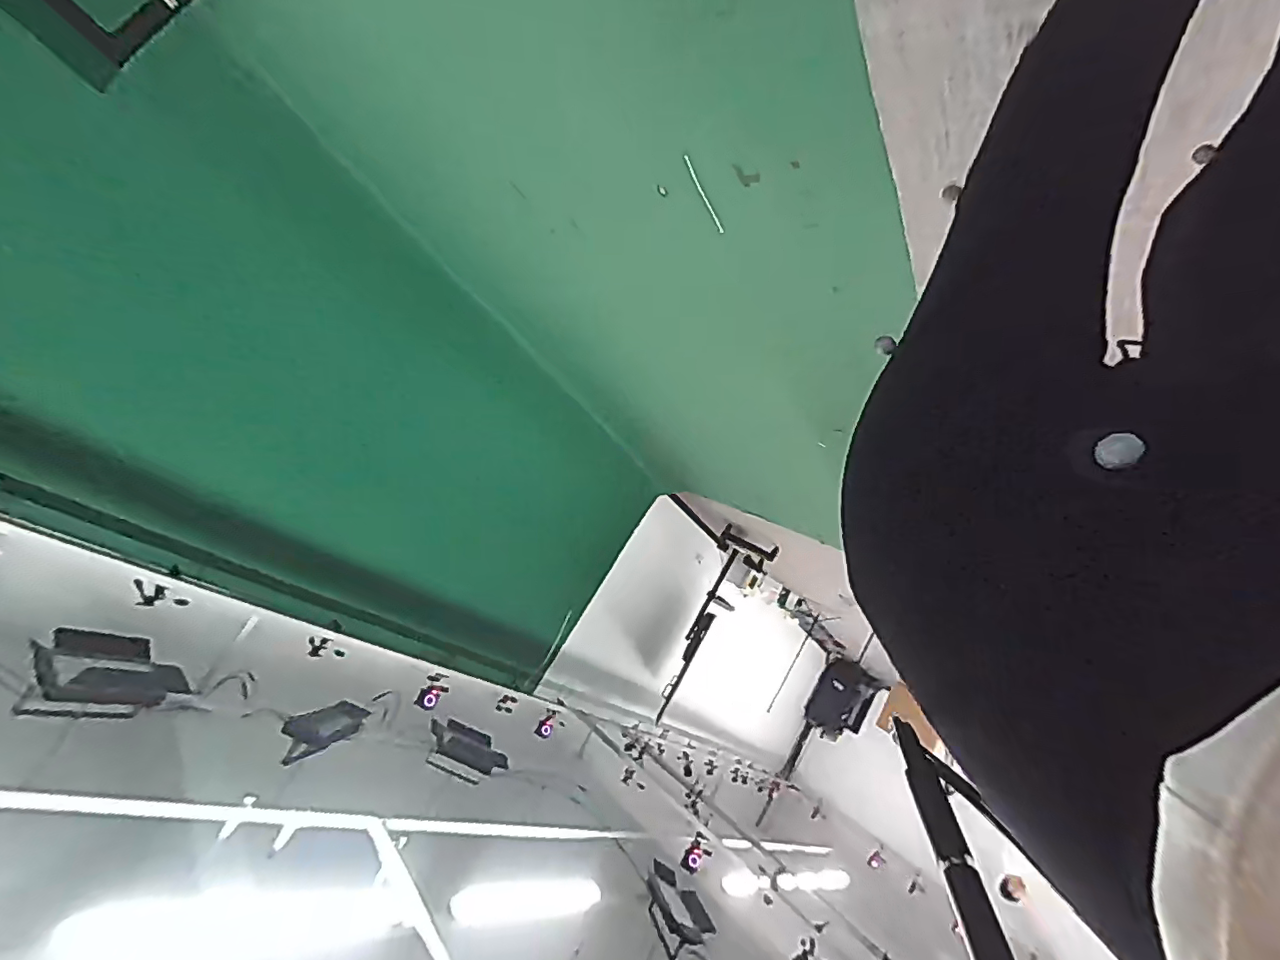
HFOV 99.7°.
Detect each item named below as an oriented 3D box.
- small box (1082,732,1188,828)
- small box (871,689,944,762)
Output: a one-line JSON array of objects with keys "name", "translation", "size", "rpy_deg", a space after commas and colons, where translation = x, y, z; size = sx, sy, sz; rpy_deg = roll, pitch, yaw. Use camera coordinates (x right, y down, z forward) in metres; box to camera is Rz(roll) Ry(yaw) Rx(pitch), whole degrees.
[{"name": "small box", "translation": [1.366, 0.822, 1.500], "size": [0.179, 0.176, 0.168], "rpy_deg": [19, 162, 45]}, {"name": "small box", "translation": [0.926, 0.840, 1.870], "size": [0.179, 0.176, 0.168], "rpy_deg": [21, 163, 38]}]
